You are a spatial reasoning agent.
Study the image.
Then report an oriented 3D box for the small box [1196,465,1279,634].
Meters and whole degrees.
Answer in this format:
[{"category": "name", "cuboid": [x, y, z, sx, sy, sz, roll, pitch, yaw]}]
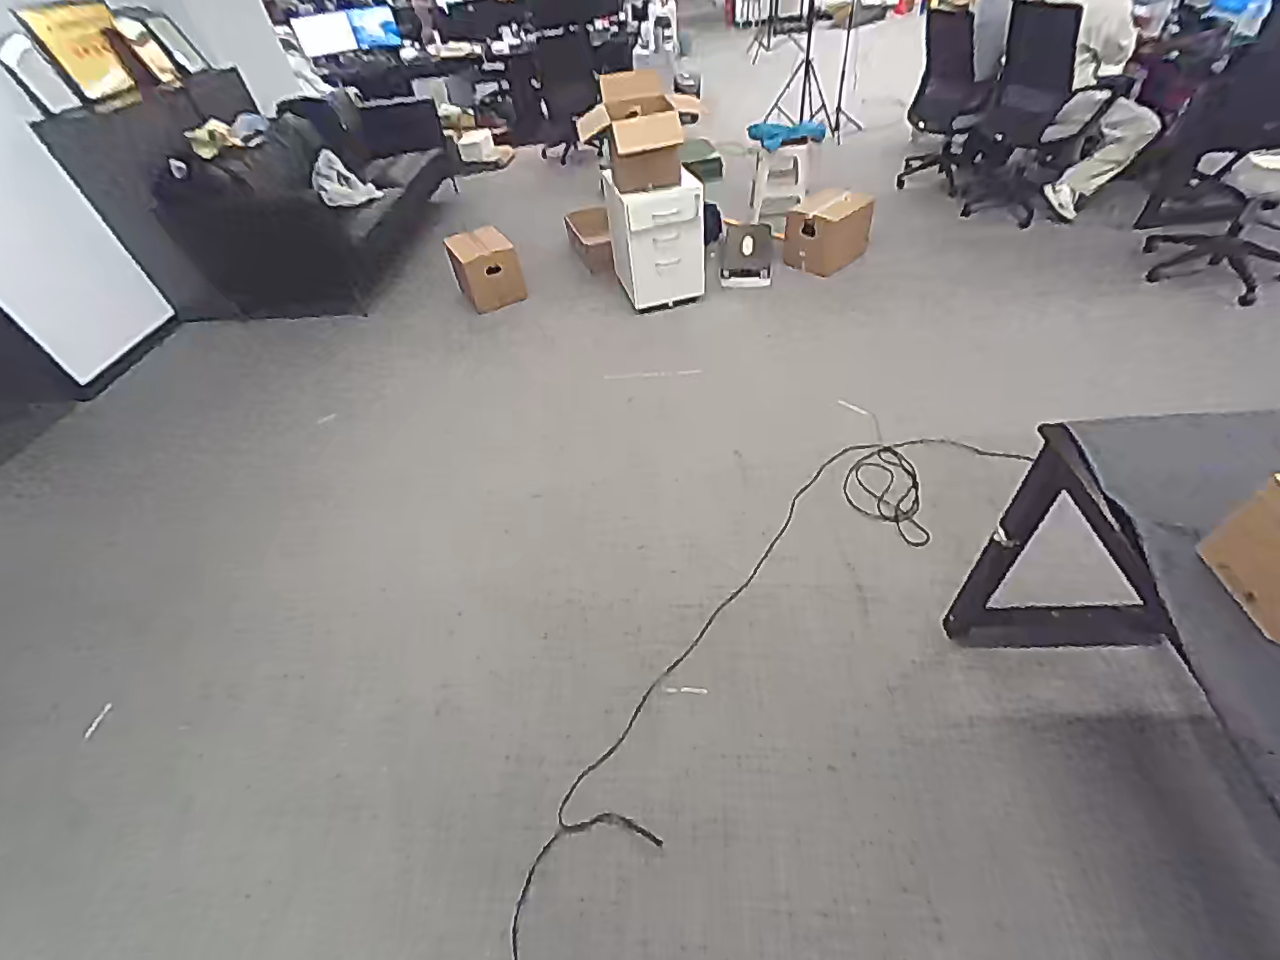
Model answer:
[{"category": "small box", "cuboid": [0.932, 0.095, 0.722, 0.179, 0.176, 0.168, -1, 46, 5]}]
